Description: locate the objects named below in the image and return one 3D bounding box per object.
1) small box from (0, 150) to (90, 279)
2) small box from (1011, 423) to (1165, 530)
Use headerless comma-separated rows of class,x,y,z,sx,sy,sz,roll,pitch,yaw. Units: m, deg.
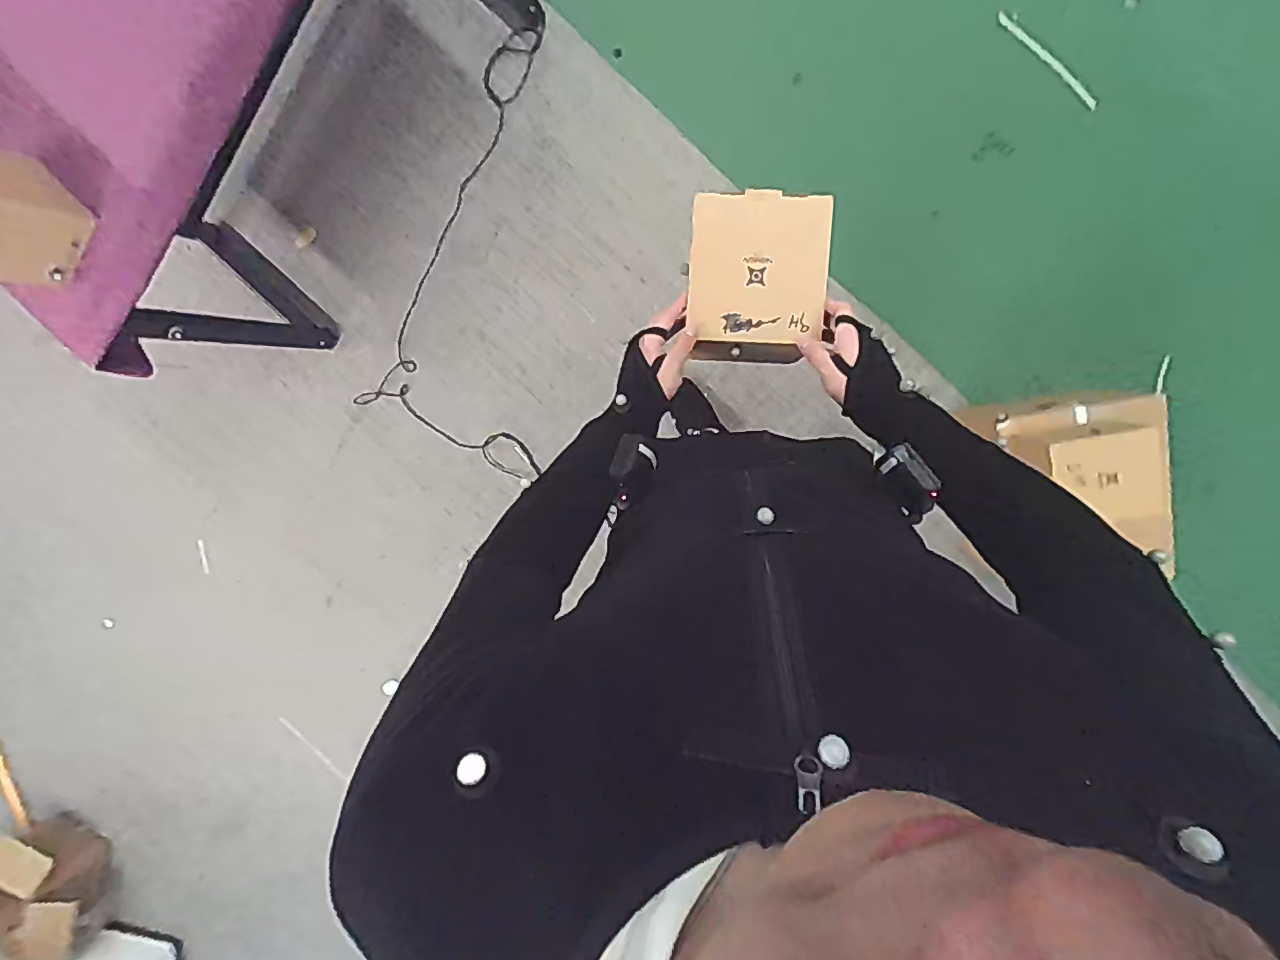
small box,-1.148,-0.479,0.955,0.179,0.176,0.168,44,105,2
small box,0.876,-0.013,1.072,0.179,0.176,0.168,-10,98,14
